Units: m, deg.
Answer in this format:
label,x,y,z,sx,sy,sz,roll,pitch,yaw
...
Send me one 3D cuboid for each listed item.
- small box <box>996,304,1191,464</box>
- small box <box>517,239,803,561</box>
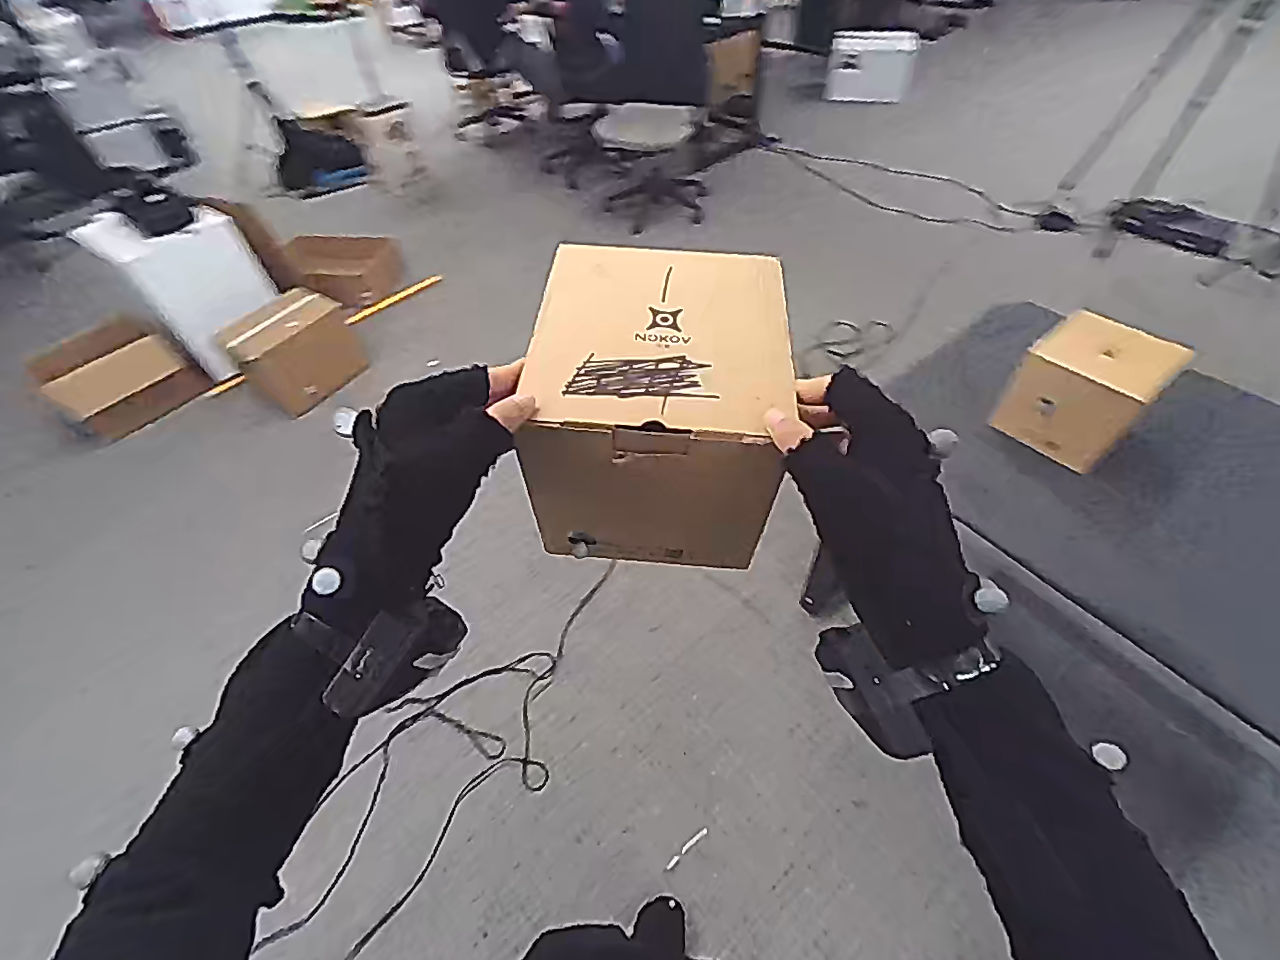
label,x,y,z,sx,sy,sz,roll,pitch,yaw
small box,0.738,-0.158,0.905,0.179,0.176,0.168,-33,55,-22
small box,0.020,-0.054,0.413,0.168,0.176,0.179,6,55,3
